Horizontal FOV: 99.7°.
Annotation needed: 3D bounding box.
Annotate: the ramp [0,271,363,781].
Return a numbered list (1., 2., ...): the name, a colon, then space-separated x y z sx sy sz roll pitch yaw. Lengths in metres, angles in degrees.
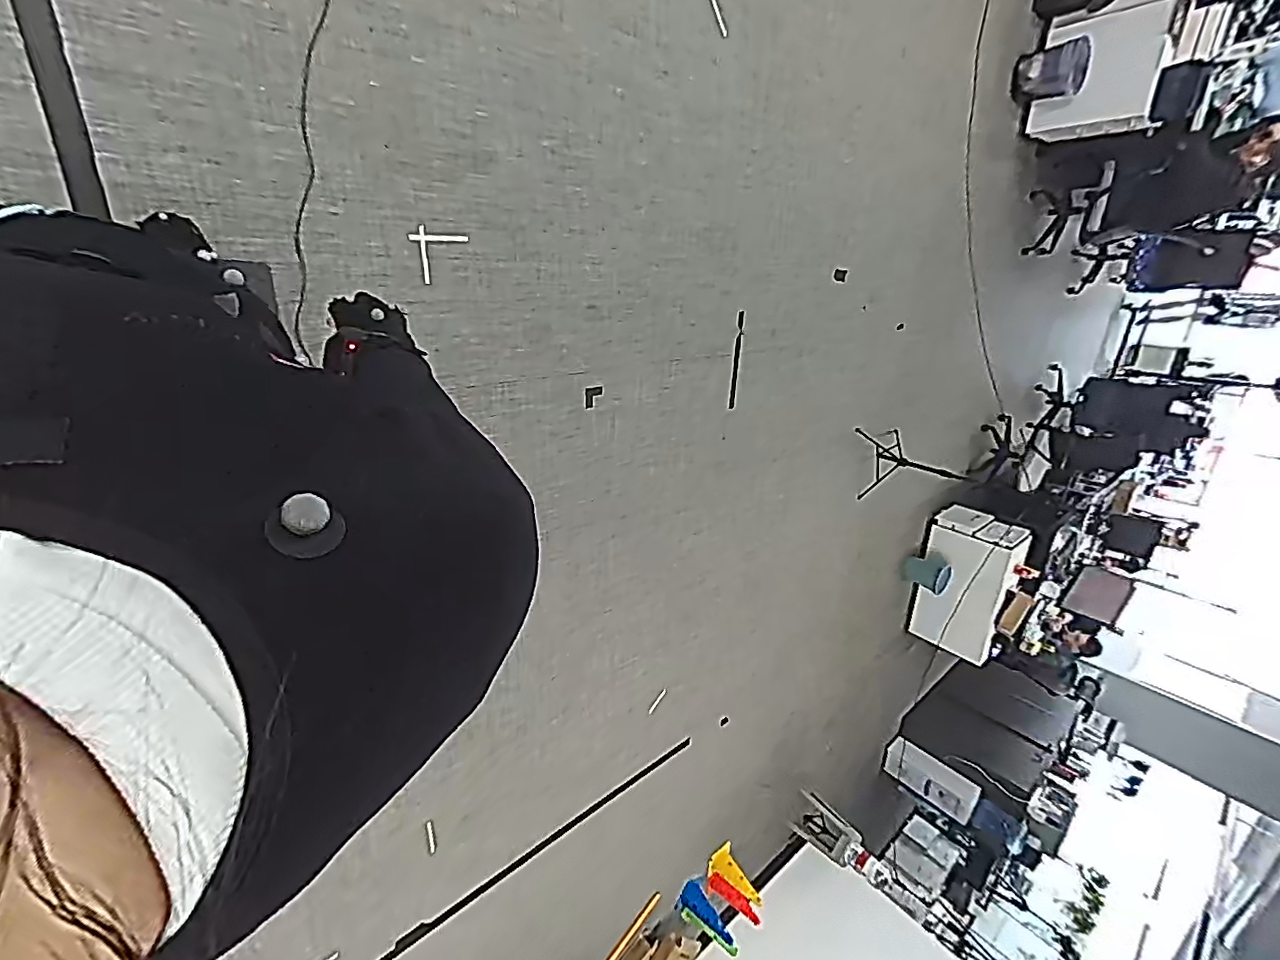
1. ramp: -0.950 0.082 1.150 0.509 0.206 0.991 -15 114 -35
